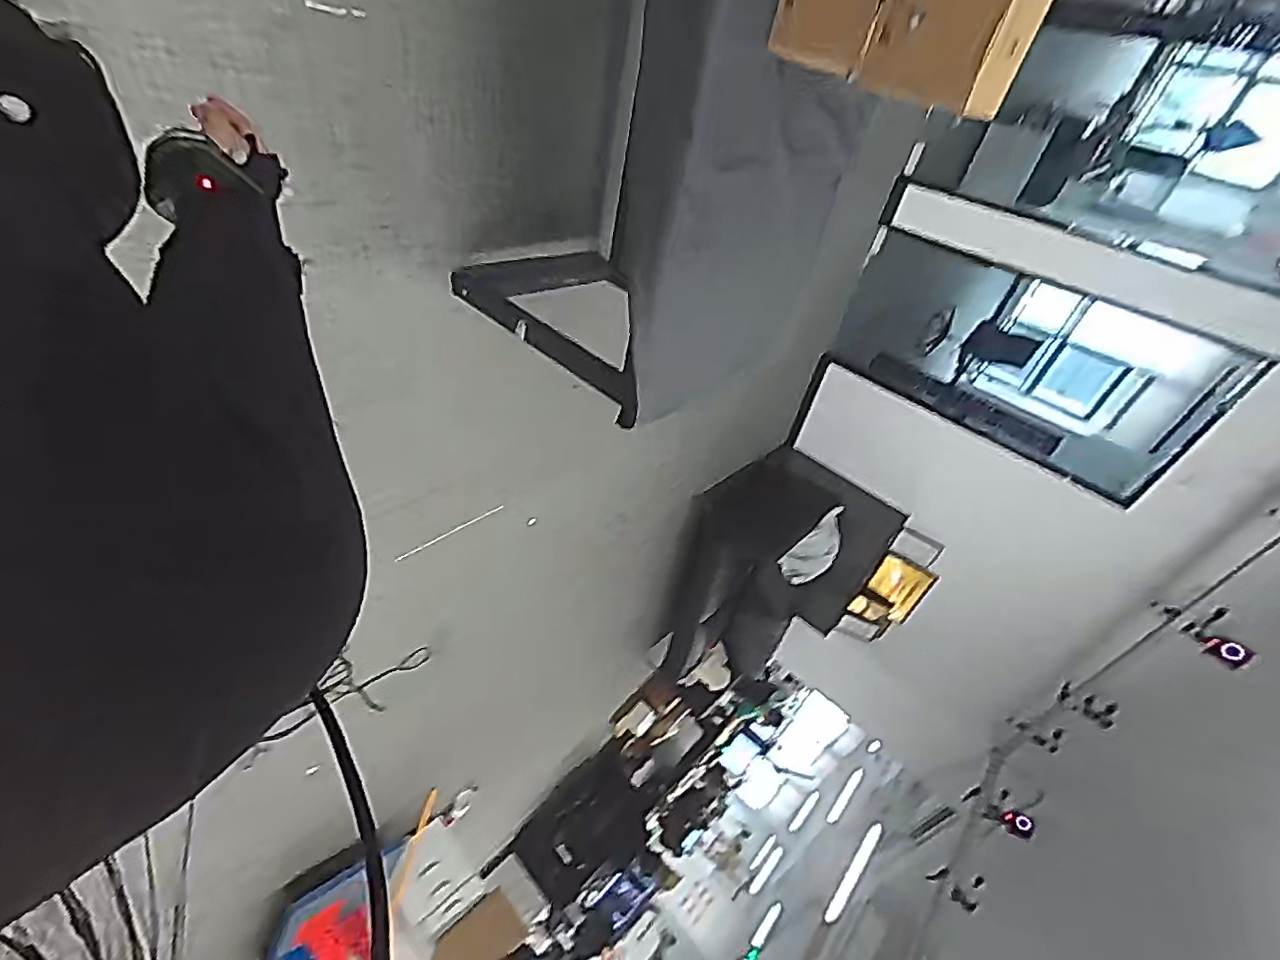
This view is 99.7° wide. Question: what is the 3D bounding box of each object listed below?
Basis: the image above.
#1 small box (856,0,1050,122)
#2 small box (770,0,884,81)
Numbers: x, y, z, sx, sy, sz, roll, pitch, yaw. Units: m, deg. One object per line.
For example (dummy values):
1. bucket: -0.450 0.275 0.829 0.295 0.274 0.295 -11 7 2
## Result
1. small box: 0.452 -0.641 0.787 0.179 0.176 0.168 -28 144 -40
2. small box: 0.331 -0.739 0.846 0.179 0.176 0.168 -27 143 -43
